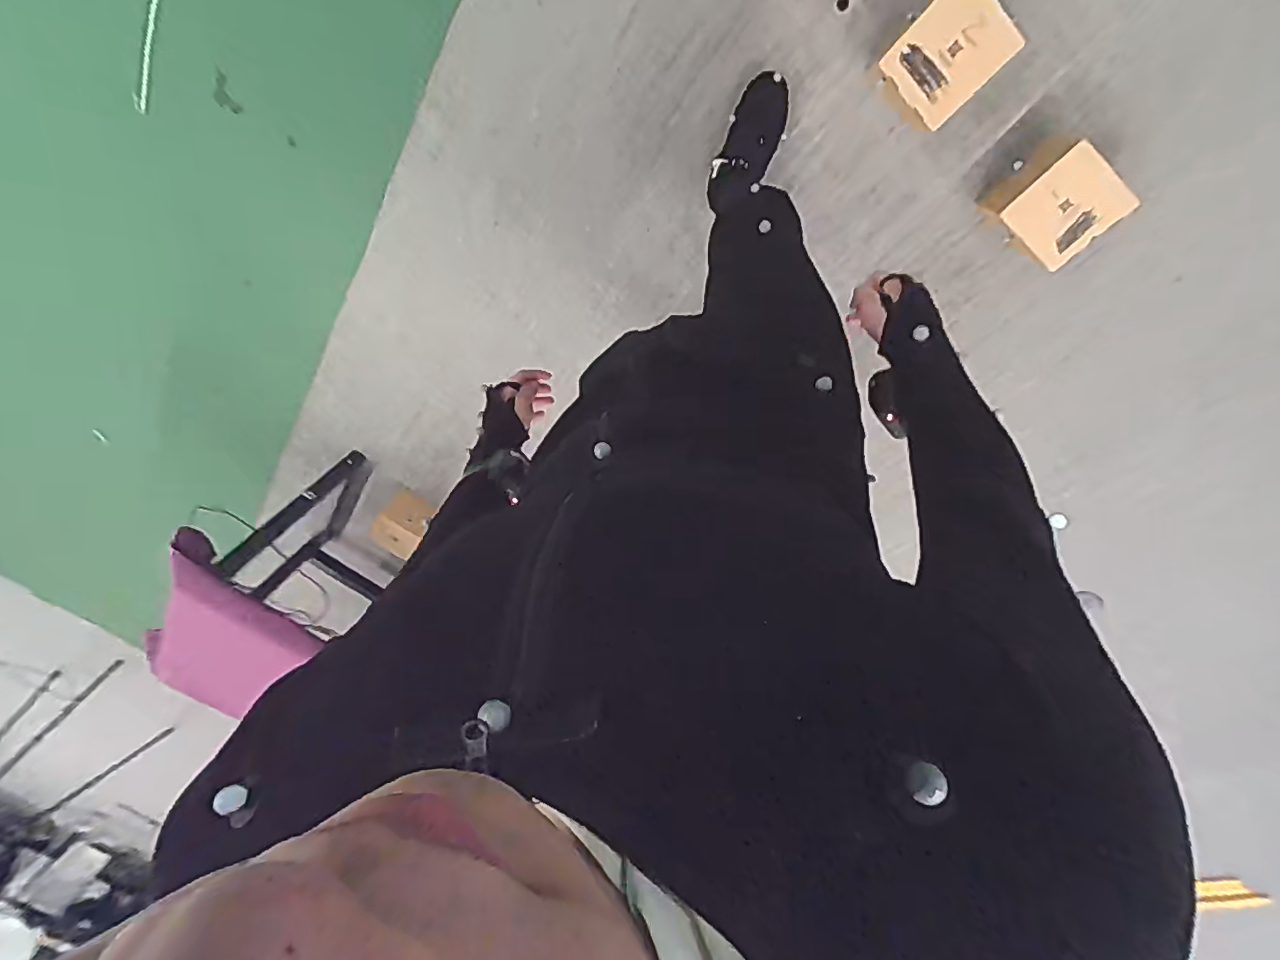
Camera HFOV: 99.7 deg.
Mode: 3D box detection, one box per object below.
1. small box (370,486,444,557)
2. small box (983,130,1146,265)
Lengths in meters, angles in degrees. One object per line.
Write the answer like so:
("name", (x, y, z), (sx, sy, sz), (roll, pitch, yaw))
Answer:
("small box", (-0.877, 0.151, 2.044), (0.179, 0.176, 0.168), (34, 125, -10))
("small box", (0.834, -0.571, 1.082), (0.179, 0.176, 0.168), (38, 125, -12))
